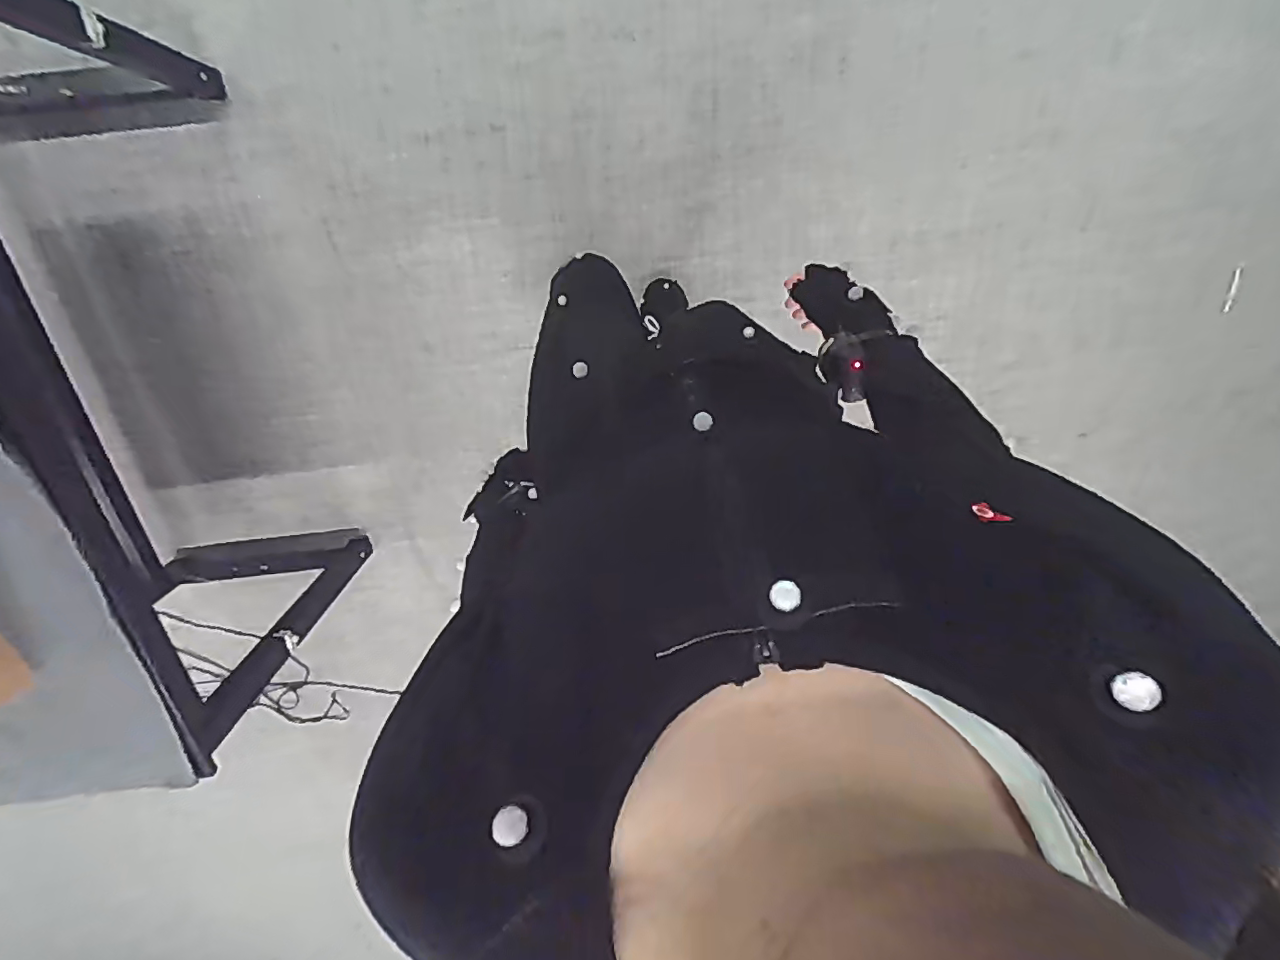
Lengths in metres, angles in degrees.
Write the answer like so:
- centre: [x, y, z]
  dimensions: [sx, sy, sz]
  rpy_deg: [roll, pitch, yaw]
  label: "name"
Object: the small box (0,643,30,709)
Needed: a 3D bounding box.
- centre: [-1.012, 0.279, 0.720]
  dimensions: [0.168, 0.176, 0.179]
  rpy_deg: [-11, 112, 1]
  label: "small box"
